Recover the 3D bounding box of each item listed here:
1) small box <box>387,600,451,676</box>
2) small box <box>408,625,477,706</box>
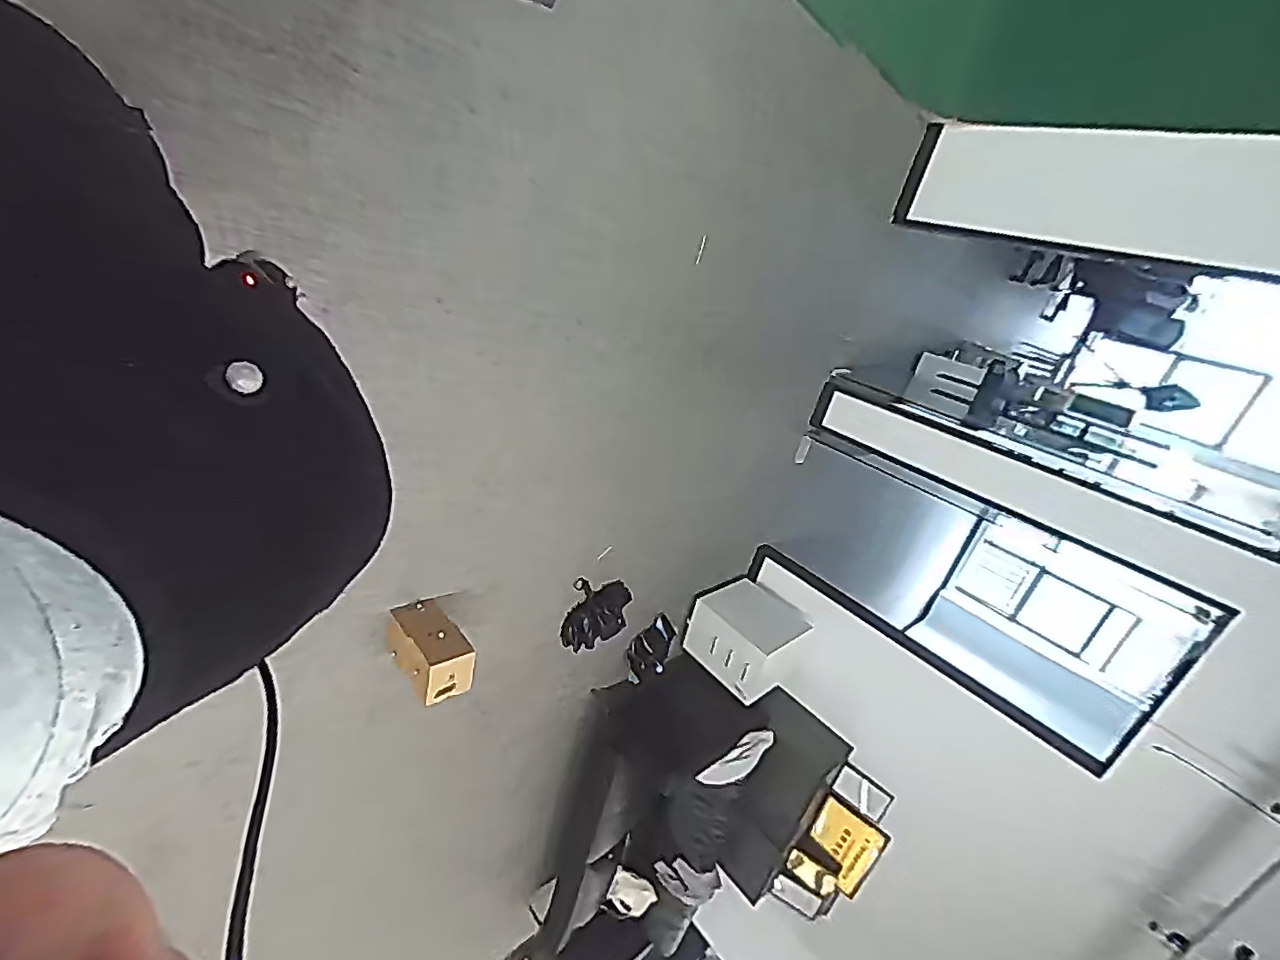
[{"bbox_3d":[-0.809,0.571,1.974,0.168,0.176,0.179,-11,123,-45],"label":"small box"},{"bbox_3d":[-0.692,0.638,1.879,0.168,0.176,0.179,-9,122,-45],"label":"small box"}]
